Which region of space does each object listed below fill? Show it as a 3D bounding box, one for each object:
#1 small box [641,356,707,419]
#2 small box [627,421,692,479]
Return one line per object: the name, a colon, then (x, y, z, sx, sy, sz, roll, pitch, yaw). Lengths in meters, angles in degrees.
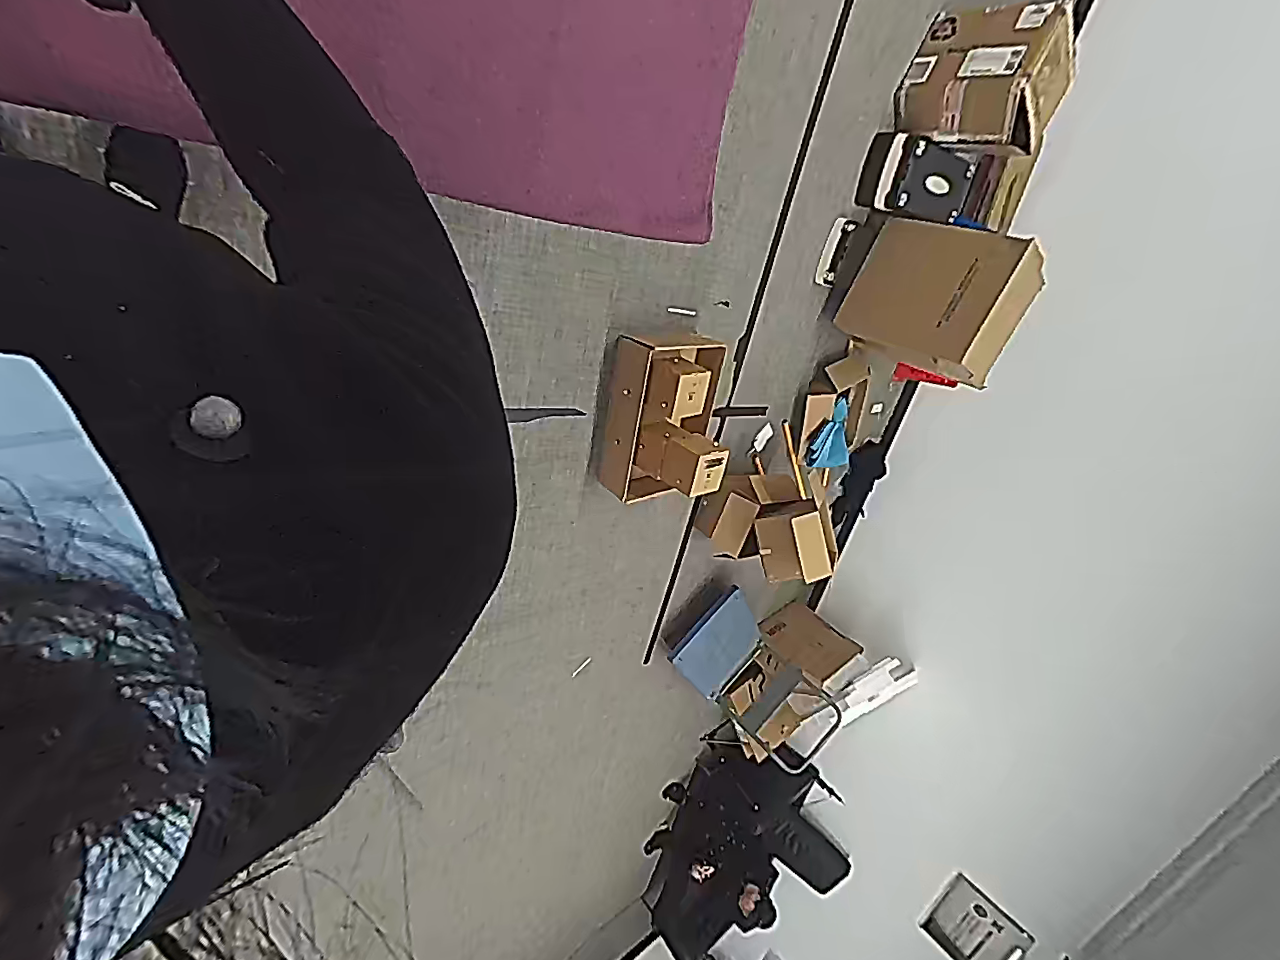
small box: (0.122, -0.351, 2.036, 0.168, 0.176, 0.179, -16, 129, -39)
small box: (0.076, -0.126, 2.157, 0.179, 0.176, 0.168, -14, 125, -39)
